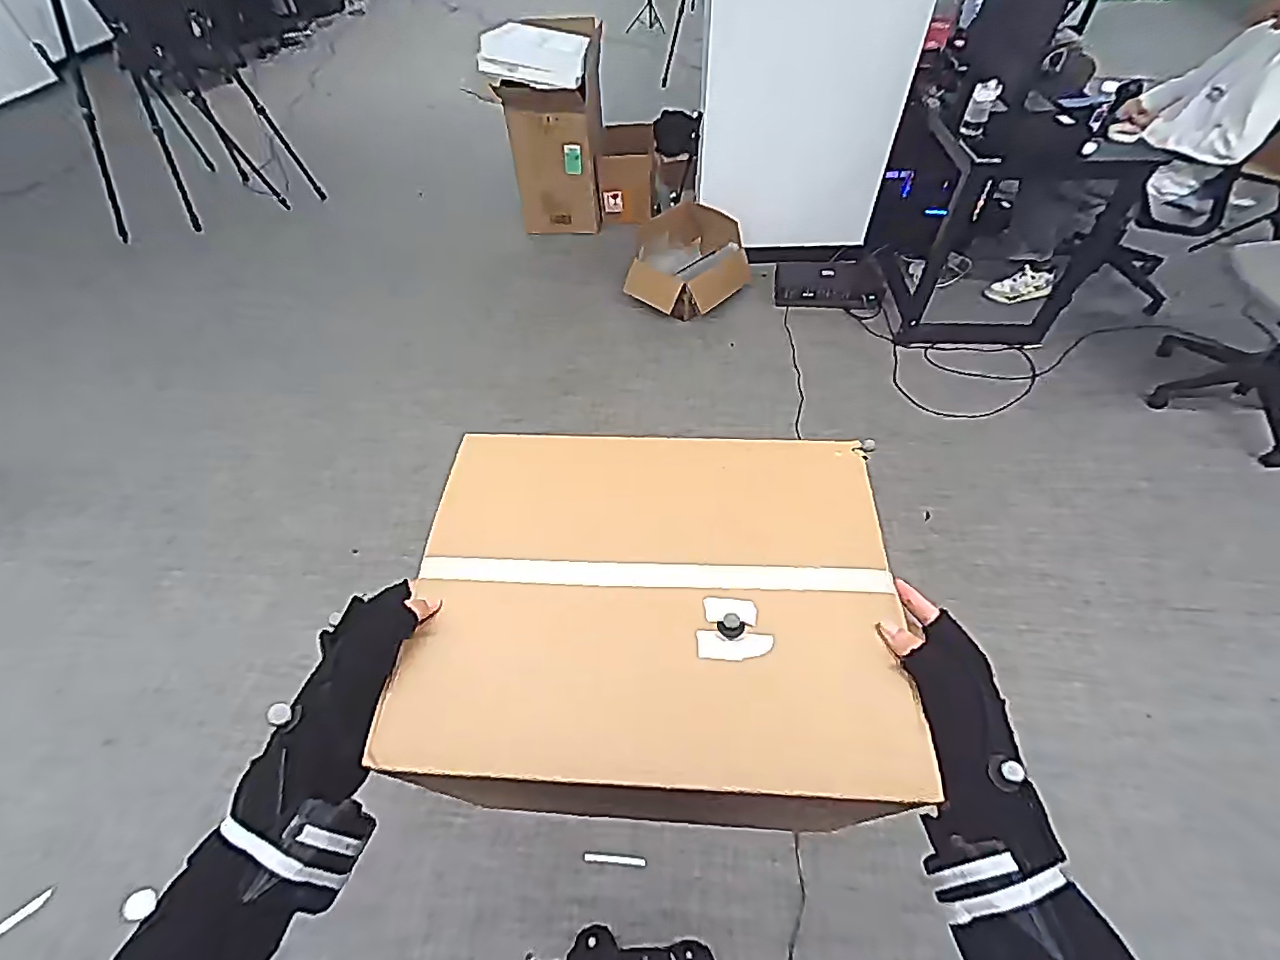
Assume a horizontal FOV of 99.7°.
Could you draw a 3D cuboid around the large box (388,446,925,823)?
[{"bbox_3d":[0.018,0.178,0.600,0.408,0.320,0.320,2,54,4],"label":"large box"}]
